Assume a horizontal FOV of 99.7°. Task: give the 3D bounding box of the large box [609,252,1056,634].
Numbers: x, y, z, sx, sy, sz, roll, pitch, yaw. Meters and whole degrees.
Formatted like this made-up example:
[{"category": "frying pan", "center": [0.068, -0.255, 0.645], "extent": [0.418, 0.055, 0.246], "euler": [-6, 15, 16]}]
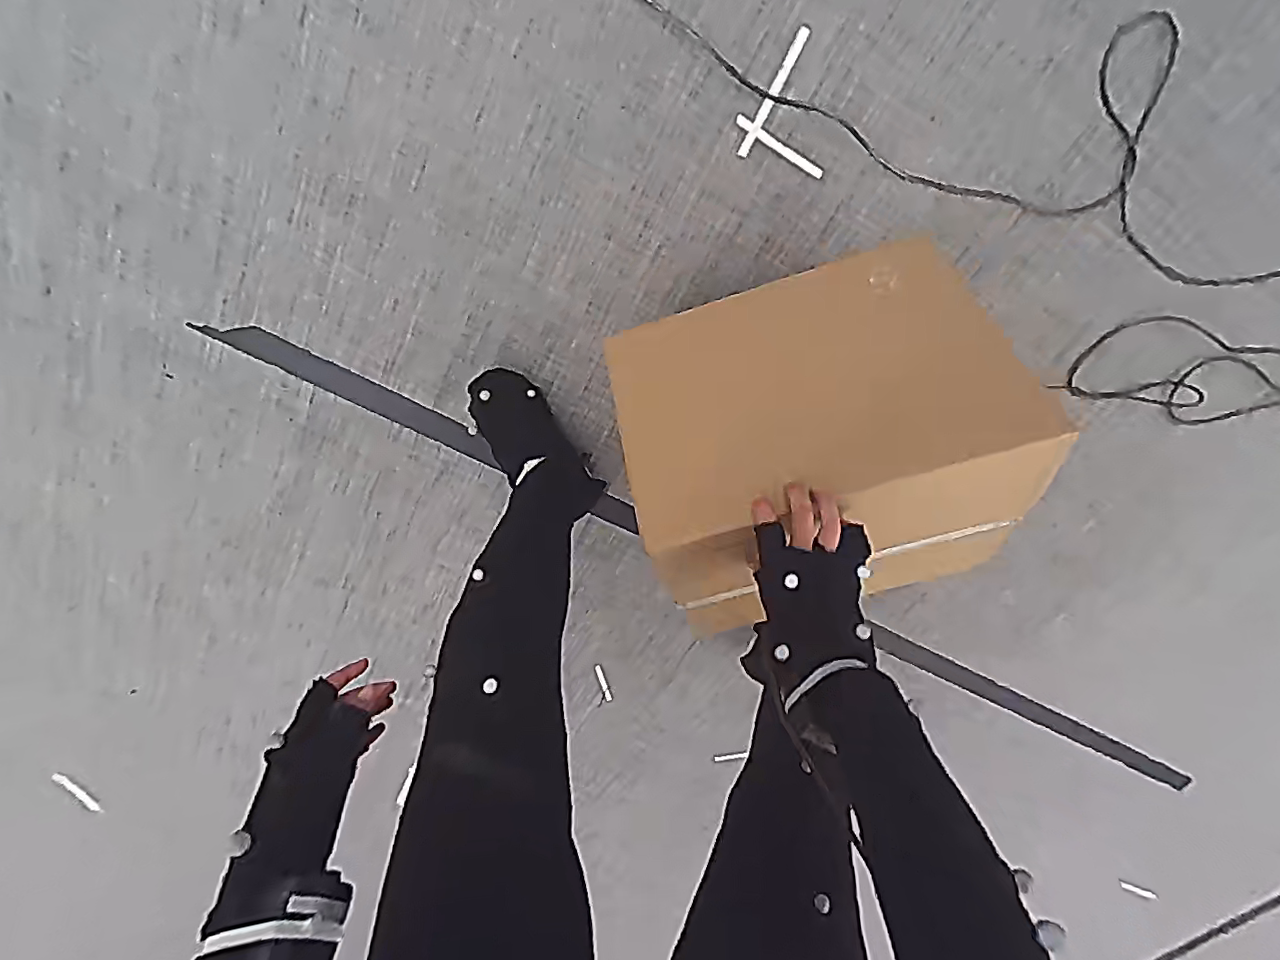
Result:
[{"category": "large box", "center": [0.205, -0.023, 0.711], "extent": [0.408, 0.320, 0.320], "euler": [-16, 146, 9]}]
